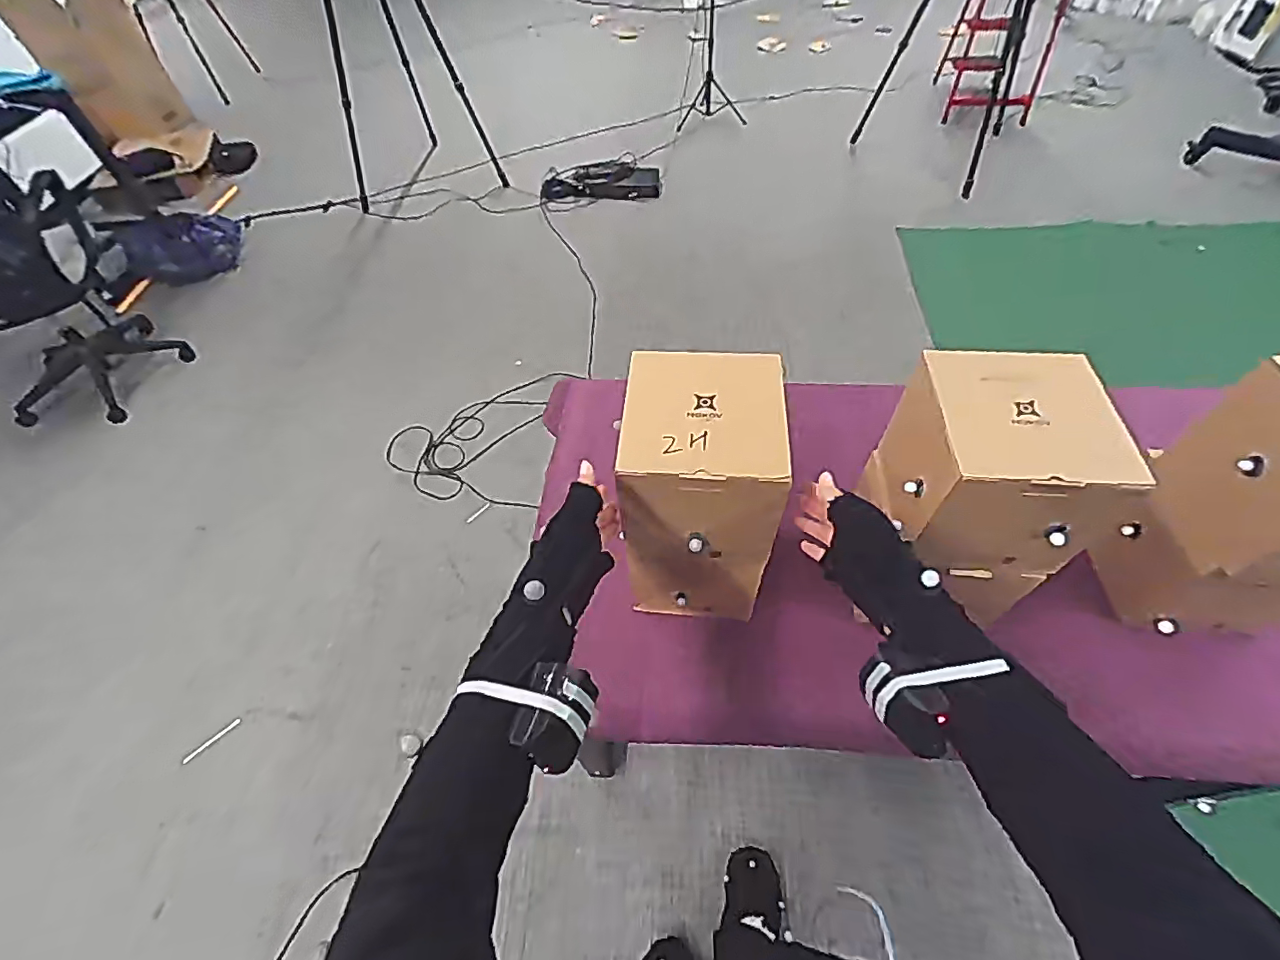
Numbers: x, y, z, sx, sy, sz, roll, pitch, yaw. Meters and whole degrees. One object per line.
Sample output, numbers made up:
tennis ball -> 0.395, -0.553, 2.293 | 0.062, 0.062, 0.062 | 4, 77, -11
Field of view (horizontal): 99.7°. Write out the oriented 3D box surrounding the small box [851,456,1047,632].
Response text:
small box -> 0.385, 0.087, 0.713 | 0.168, 0.176, 0.179 | 1, 53, 10

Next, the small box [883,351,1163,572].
small box -> 0.380, -0.015, 0.581 | 0.168, 0.176, 0.179 | 3, 54, 6

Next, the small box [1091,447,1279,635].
small box -> 0.722, 0.082, 0.687 | 0.168, 0.176, 0.179 | 6, 55, 6

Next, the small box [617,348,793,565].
small box -> 0.070, -0.025, 0.608 | 0.168, 0.176, 0.179 | 3, 55, 6
